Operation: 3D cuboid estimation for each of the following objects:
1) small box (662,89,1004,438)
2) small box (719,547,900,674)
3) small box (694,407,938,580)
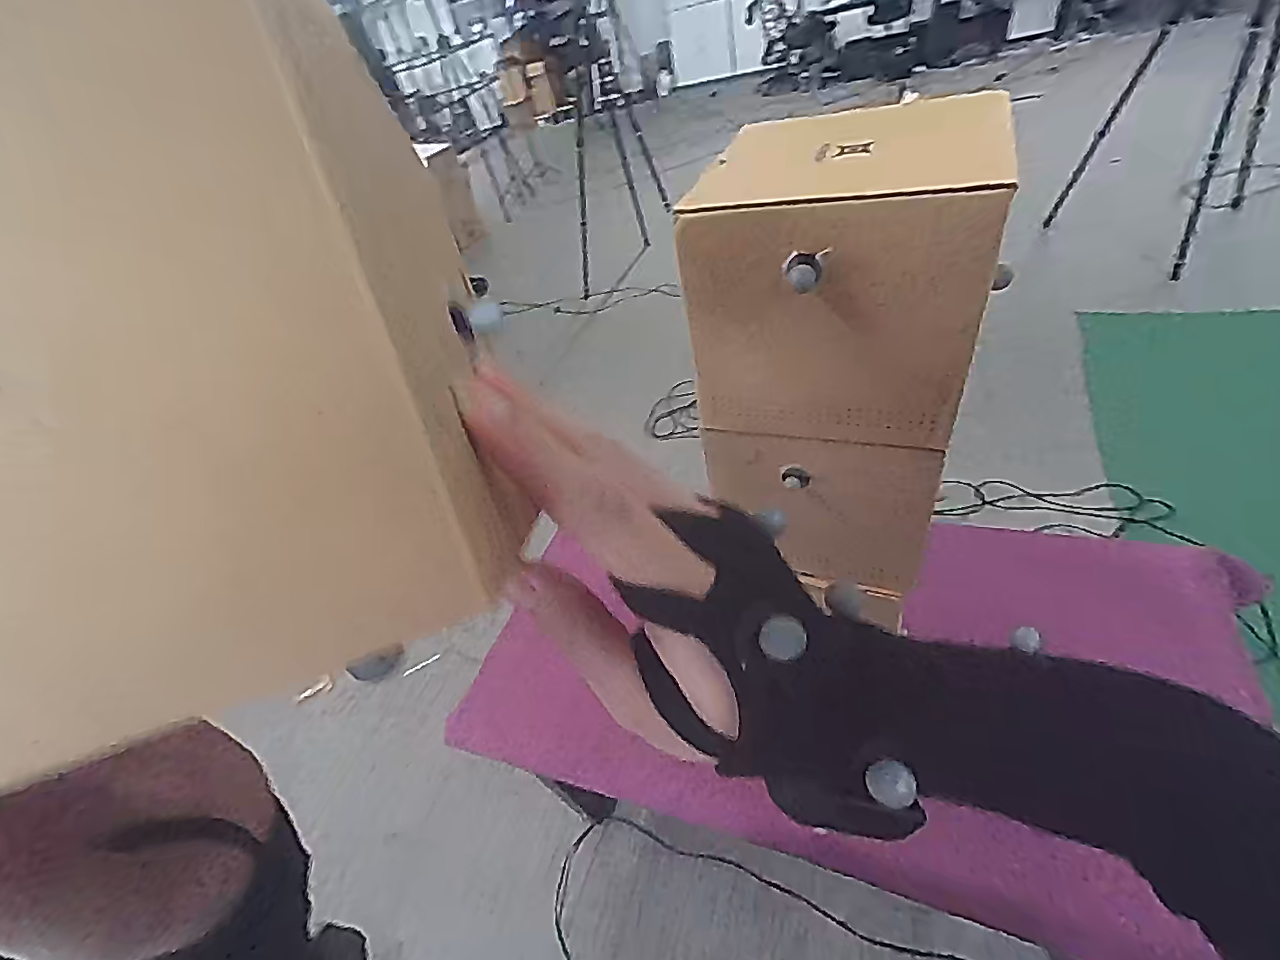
[{"bbox_3d":[0.138,-0.146,0.388,0.179,0.176,0.168,8,47,25],"label":"small box"},{"bbox_3d":[0.202,0.088,0.607,0.168,0.176,0.179,9,49,25],"label":"small box"},{"bbox_3d":[0.166,-0.030,0.498,0.179,0.176,0.168,8,48,24],"label":"small box"}]
